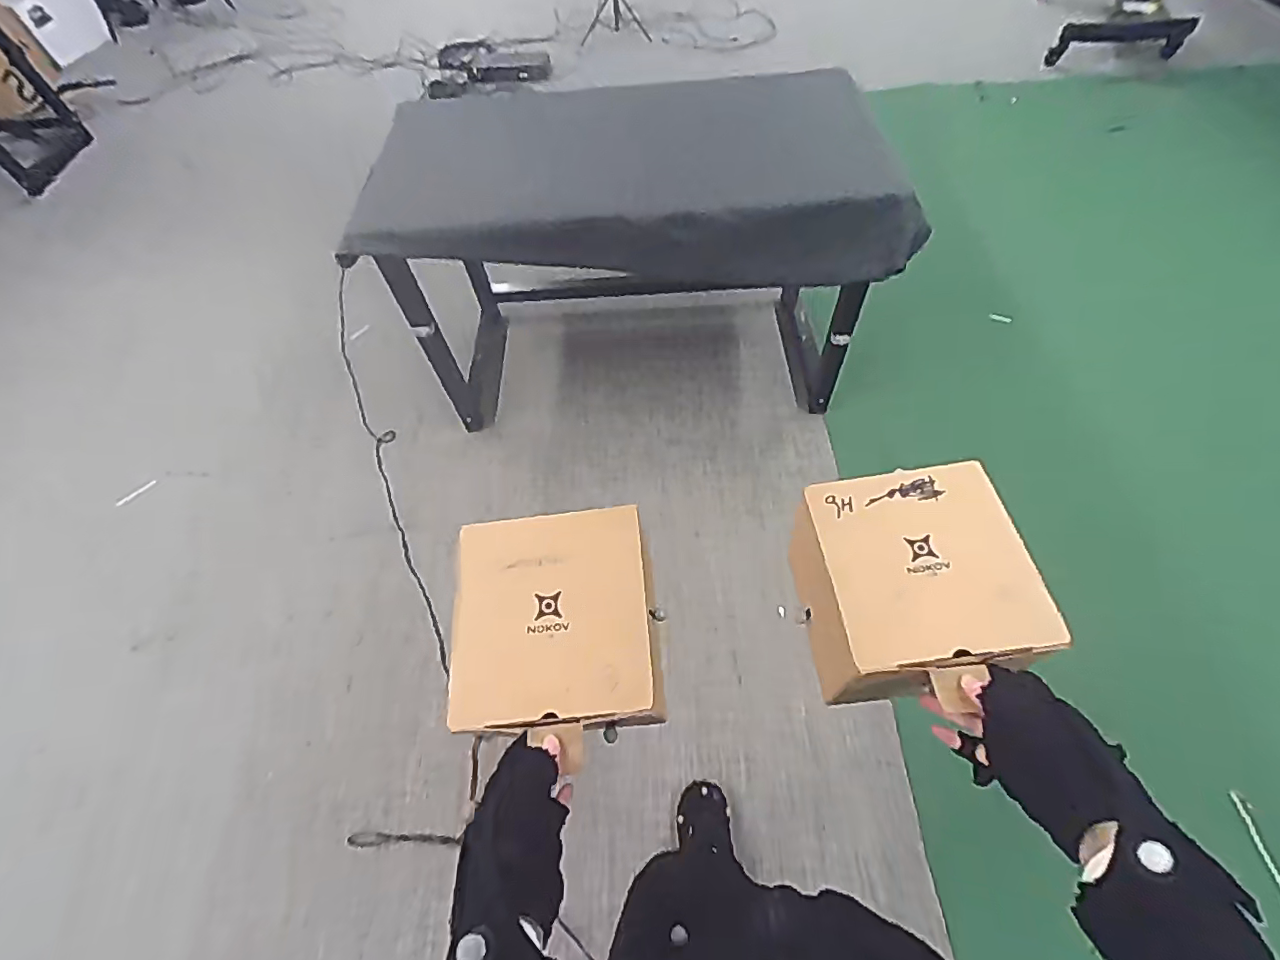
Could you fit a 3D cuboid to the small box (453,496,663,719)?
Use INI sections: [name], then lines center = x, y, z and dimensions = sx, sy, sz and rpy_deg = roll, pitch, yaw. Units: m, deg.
[small box]
center = -0.069, 0.135, 0.534
dimensions = 0.168, 0.176, 0.179
rpy_deg = -7, 63, 2
